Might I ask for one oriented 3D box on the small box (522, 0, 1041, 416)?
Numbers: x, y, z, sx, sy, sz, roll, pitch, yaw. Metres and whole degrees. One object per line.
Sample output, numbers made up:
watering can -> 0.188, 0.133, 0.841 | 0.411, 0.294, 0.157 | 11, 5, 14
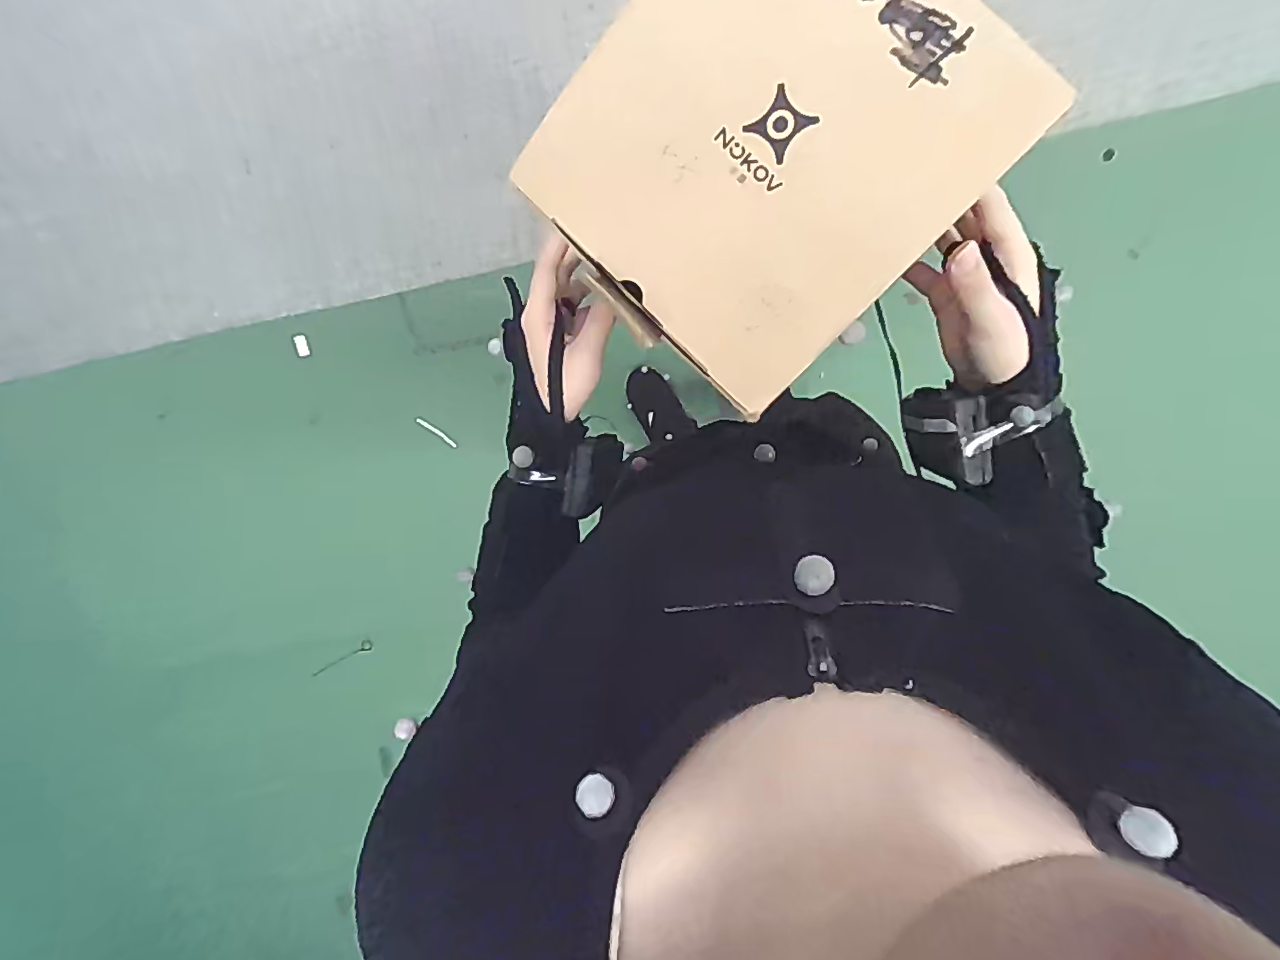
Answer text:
small box -> 0.070, -0.157, 0.324 | 0.168, 0.176, 0.179 | 45, 104, 2
